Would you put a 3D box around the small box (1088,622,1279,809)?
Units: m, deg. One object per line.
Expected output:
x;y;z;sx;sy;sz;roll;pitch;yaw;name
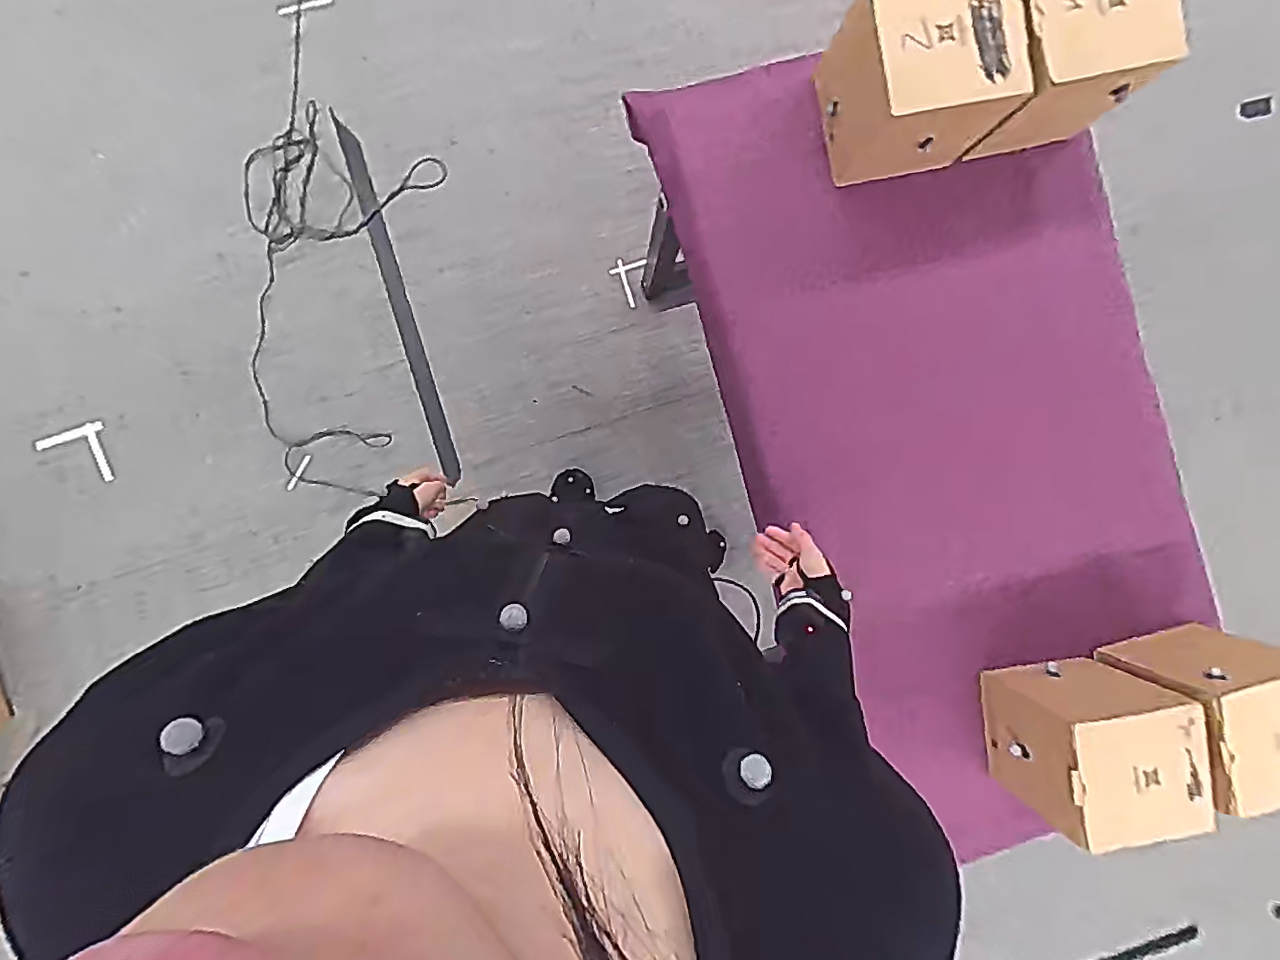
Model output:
0.798;0.318;0.769;0.179;0.176;0.168;-13;94;-5;small box

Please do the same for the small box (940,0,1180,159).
0.539;-0.562;0.714;0.179;0.176;0.168;-13;93;-3;small box
